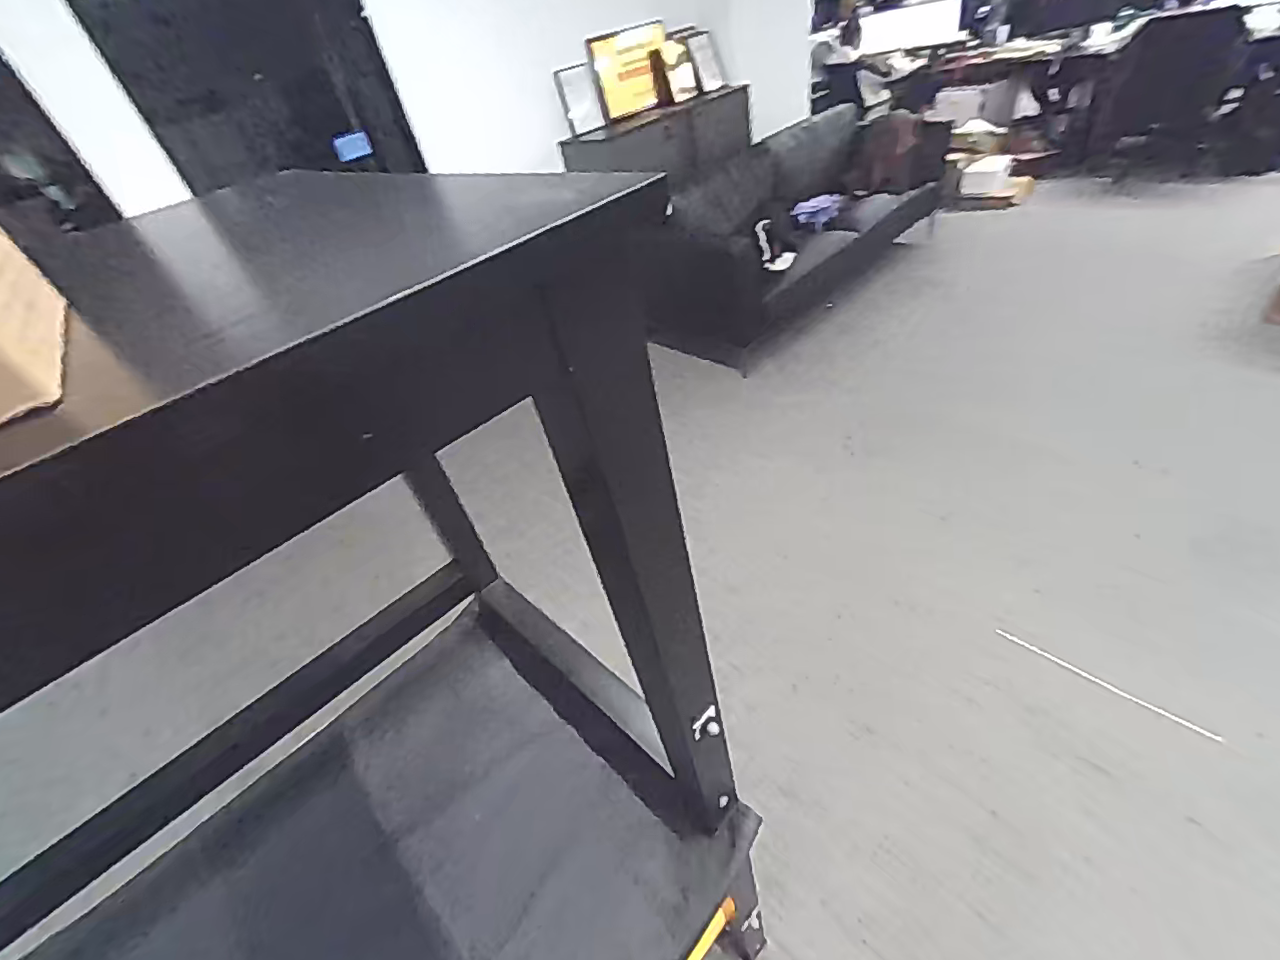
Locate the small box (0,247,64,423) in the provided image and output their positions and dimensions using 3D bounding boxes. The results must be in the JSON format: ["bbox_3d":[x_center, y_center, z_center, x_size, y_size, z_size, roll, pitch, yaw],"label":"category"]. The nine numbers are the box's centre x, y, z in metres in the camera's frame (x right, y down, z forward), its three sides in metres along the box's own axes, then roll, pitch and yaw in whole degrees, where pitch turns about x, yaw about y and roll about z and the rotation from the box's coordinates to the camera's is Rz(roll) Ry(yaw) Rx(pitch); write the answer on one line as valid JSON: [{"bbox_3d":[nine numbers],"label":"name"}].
[{"bbox_3d":[-0.303,-0.068,0.131,0.168,0.176,0.179,-37,44,-26],"label":"small box"}]
